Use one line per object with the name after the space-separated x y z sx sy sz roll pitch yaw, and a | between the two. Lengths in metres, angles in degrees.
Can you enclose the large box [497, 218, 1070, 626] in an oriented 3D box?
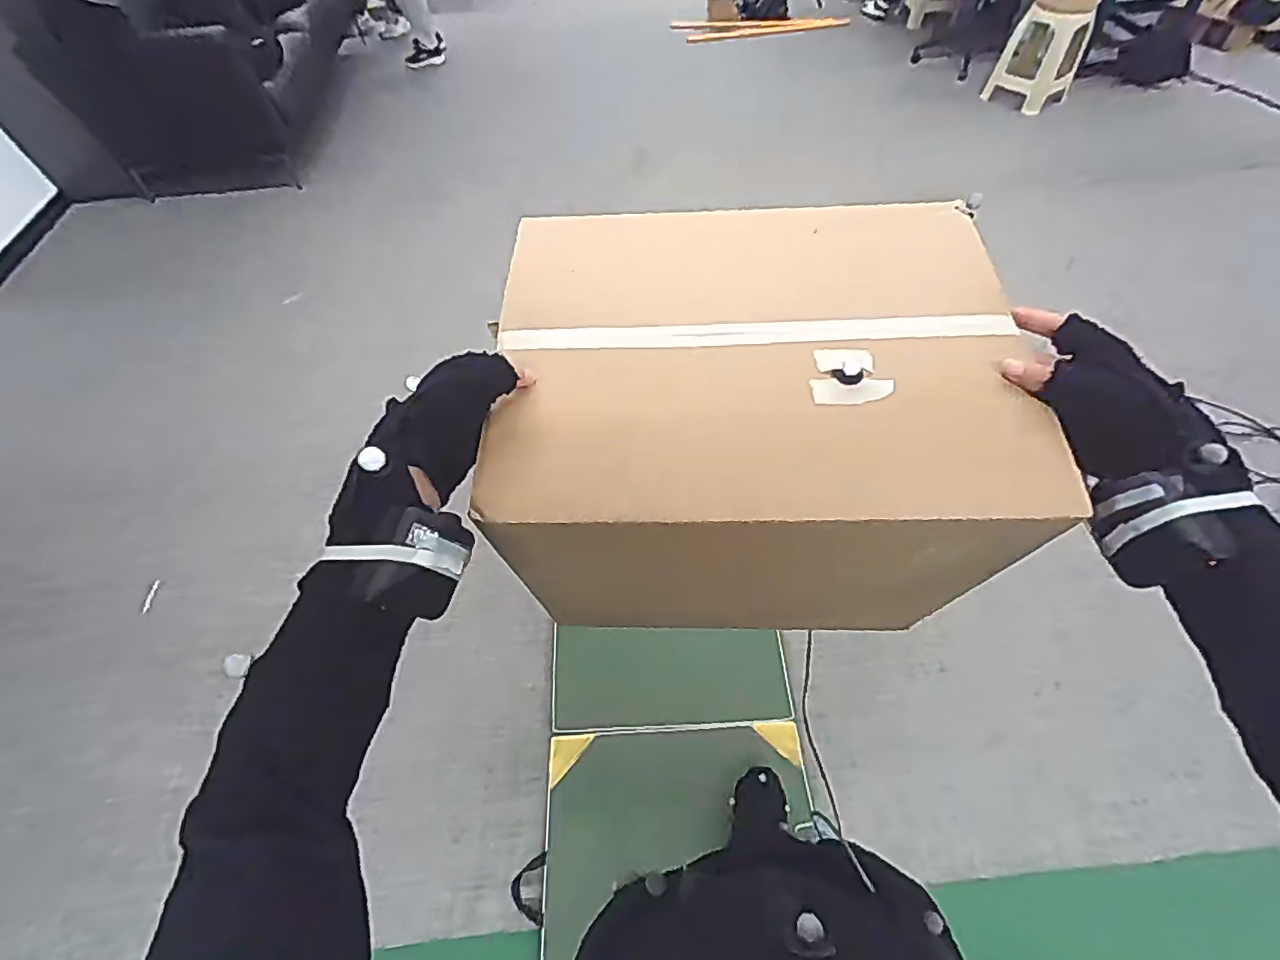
0.100 -0.038 0.573 0.408 0.320 0.320 -1 62 2 | large box
